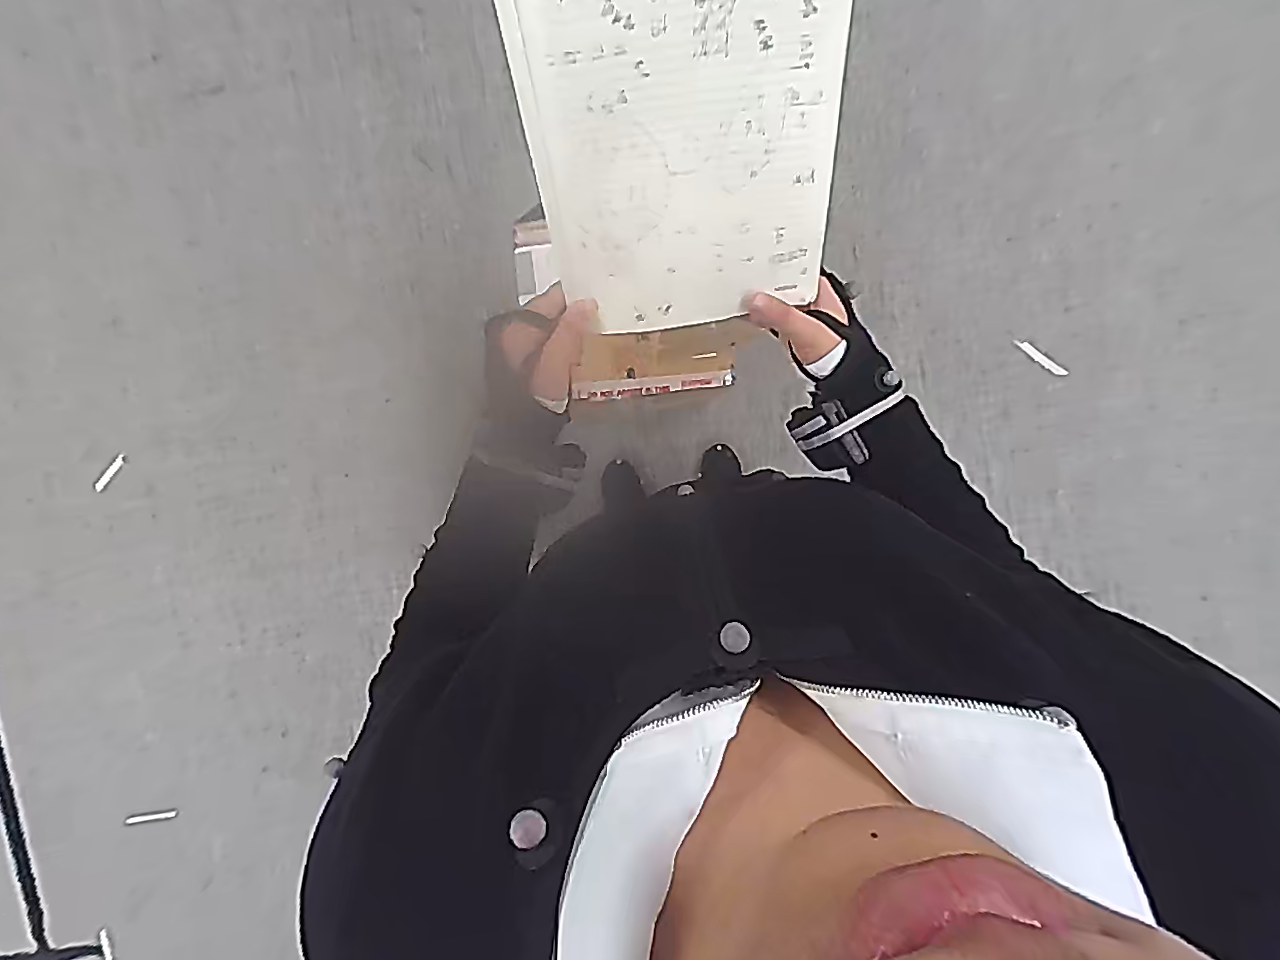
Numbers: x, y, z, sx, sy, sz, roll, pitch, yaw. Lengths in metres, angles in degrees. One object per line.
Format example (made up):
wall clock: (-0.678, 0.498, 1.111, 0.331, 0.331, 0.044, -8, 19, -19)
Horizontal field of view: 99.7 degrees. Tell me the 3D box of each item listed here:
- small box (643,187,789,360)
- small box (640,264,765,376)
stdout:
small box: (0.098, -0.281, 0.770, 0.168, 0.176, 0.179, -9, 93, 0)
small box: (0.100, -0.283, 0.934, 0.179, 0.176, 0.168, -11, 94, 1)
